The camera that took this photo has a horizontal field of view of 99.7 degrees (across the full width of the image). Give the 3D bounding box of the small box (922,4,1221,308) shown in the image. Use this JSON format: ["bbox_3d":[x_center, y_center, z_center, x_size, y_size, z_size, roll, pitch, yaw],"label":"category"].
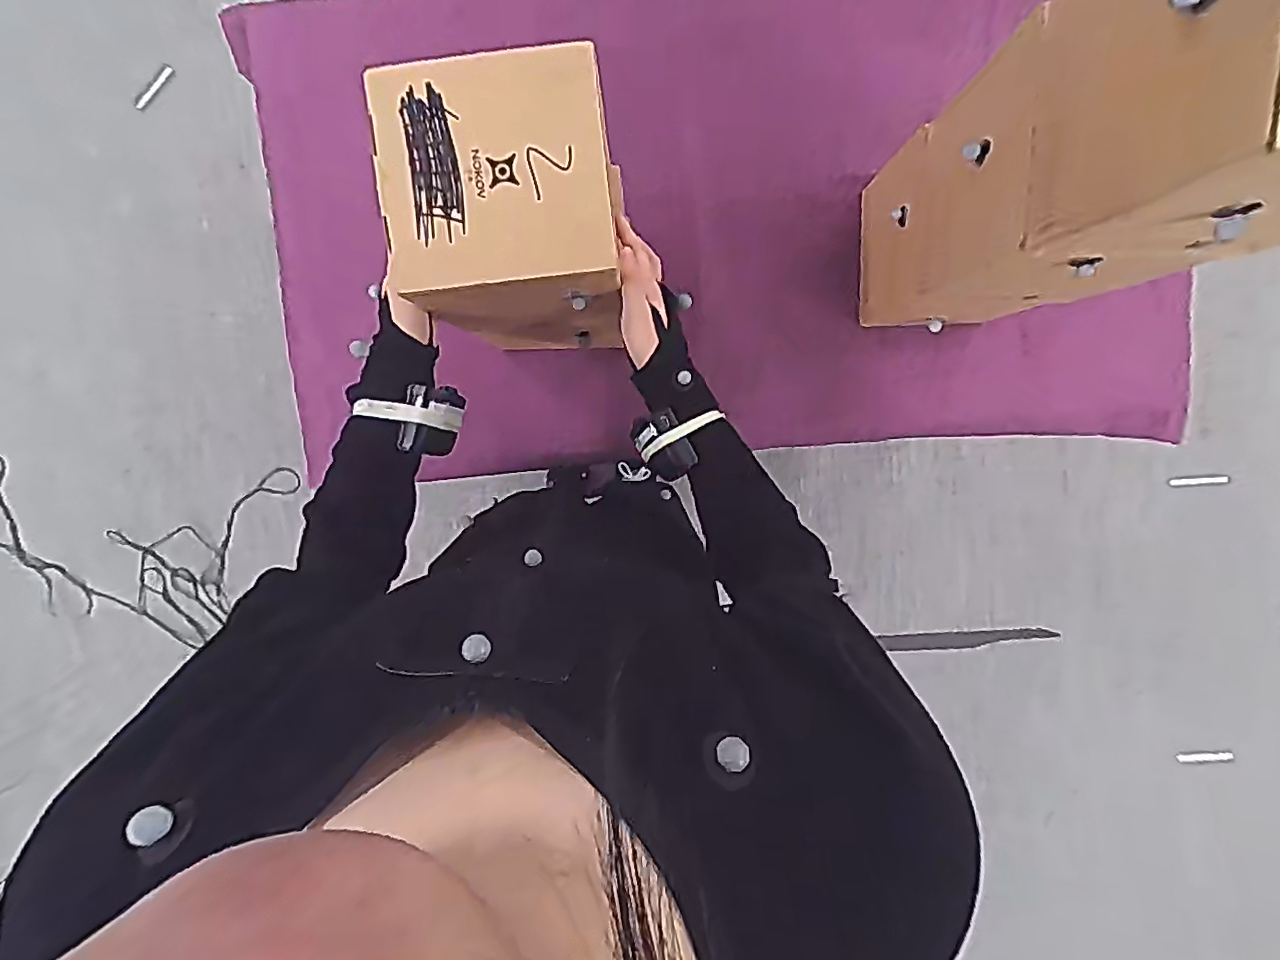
[{"bbox_3d":[0.371,-0.262,0.476,0.168,0.176,0.179,1,95,2],"label":"small box"}]

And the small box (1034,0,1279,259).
[{"bbox_3d":[0.368,-0.238,0.314,0.168,0.176,0.179,1,96,2],"label":"small box"}]

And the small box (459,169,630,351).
[{"bbox_3d":[-0.101,-0.251,0.651,0.179,0.176,0.168,0,95,2],"label":"small box"}]

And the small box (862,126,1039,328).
[{"bbox_3d":[0.374,-0.284,0.638,0.168,0.176,0.179,-1,96,2],"label":"small box"}]
